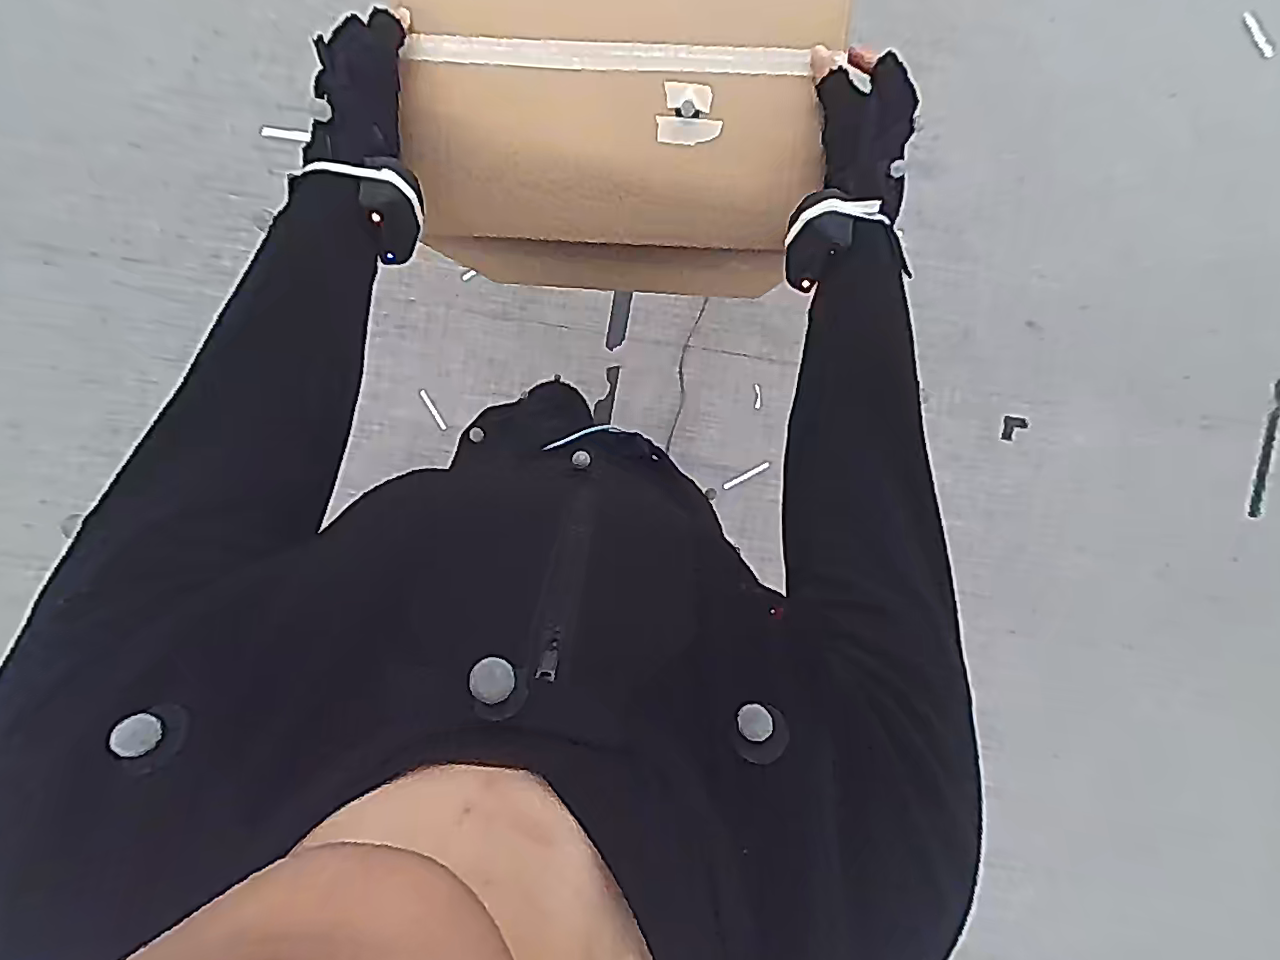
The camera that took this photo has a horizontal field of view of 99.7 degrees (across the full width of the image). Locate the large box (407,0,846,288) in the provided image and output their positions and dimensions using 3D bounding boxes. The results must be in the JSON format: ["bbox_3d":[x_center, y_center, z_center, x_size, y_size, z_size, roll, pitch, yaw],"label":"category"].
[{"bbox_3d":[-0.015,-0.416,0.641,0.408,0.320,0.320,3,102,0],"label":"large box"}]
